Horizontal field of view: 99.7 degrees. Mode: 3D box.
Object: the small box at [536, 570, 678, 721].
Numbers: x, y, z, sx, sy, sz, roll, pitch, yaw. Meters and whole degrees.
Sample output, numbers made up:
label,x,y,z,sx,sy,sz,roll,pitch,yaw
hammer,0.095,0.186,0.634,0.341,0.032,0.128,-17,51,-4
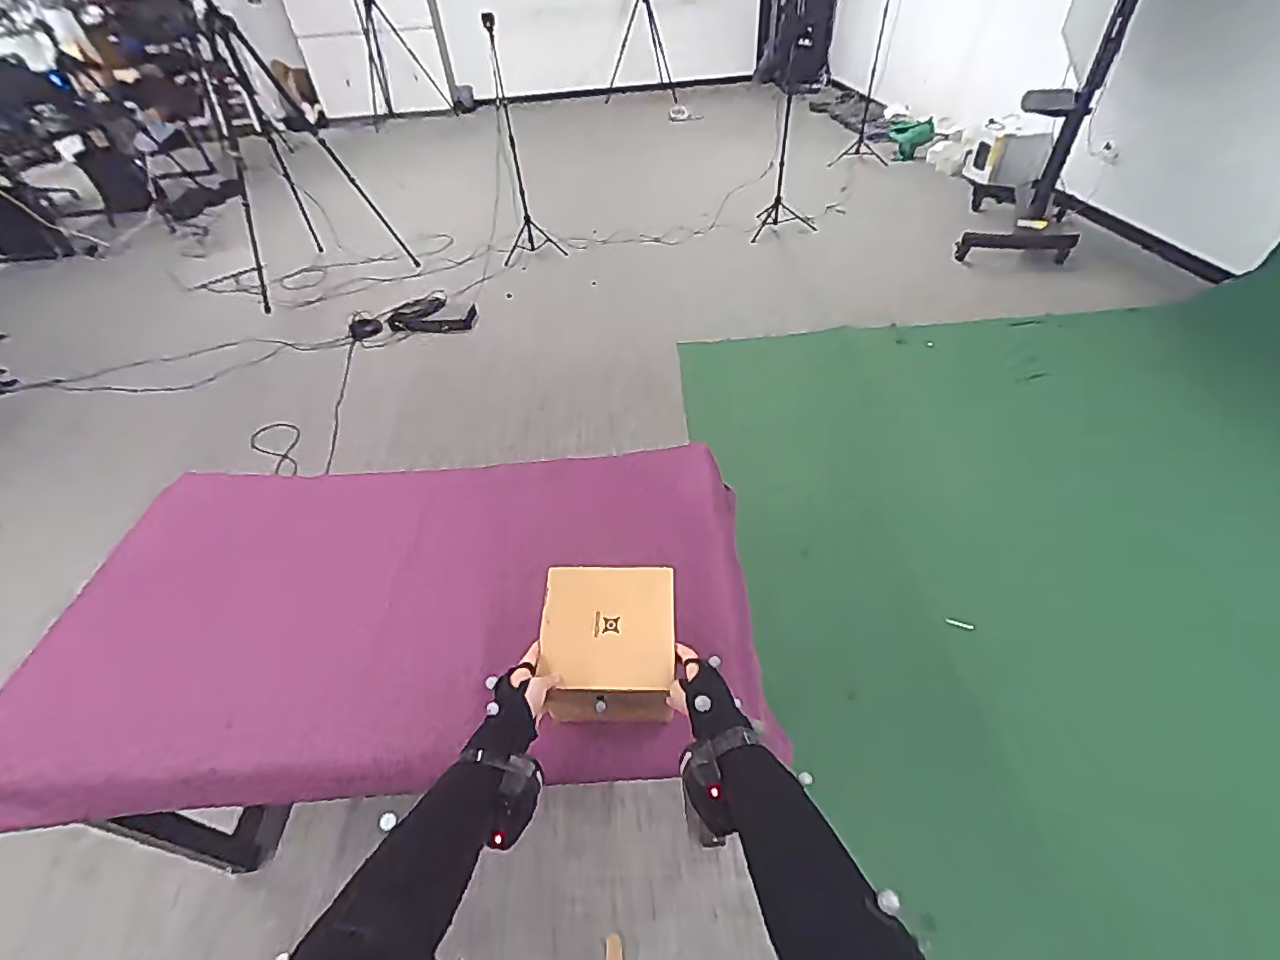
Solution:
label,x,y,z,sx,sy,sz,roll,pitch,yaw
small box,-0.036,0.238,0.770,0.179,0.176,0.168,-2,54,4
